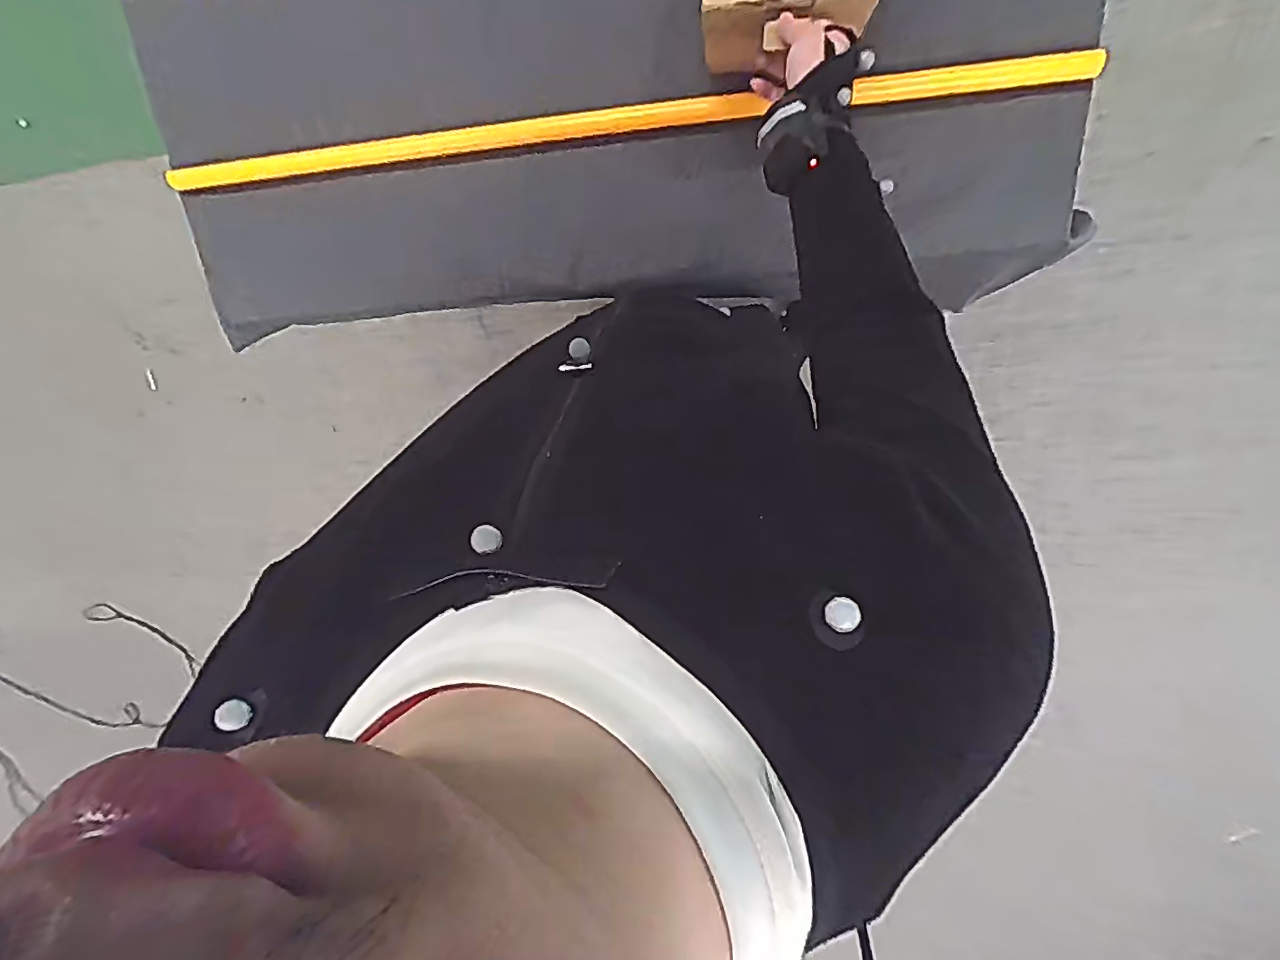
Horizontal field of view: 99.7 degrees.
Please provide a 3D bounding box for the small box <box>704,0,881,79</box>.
[{"bbox_3d":[0.154,-0.544,0.556,0.168,0.176,0.179,0,109,11],"label":"small box"}]
